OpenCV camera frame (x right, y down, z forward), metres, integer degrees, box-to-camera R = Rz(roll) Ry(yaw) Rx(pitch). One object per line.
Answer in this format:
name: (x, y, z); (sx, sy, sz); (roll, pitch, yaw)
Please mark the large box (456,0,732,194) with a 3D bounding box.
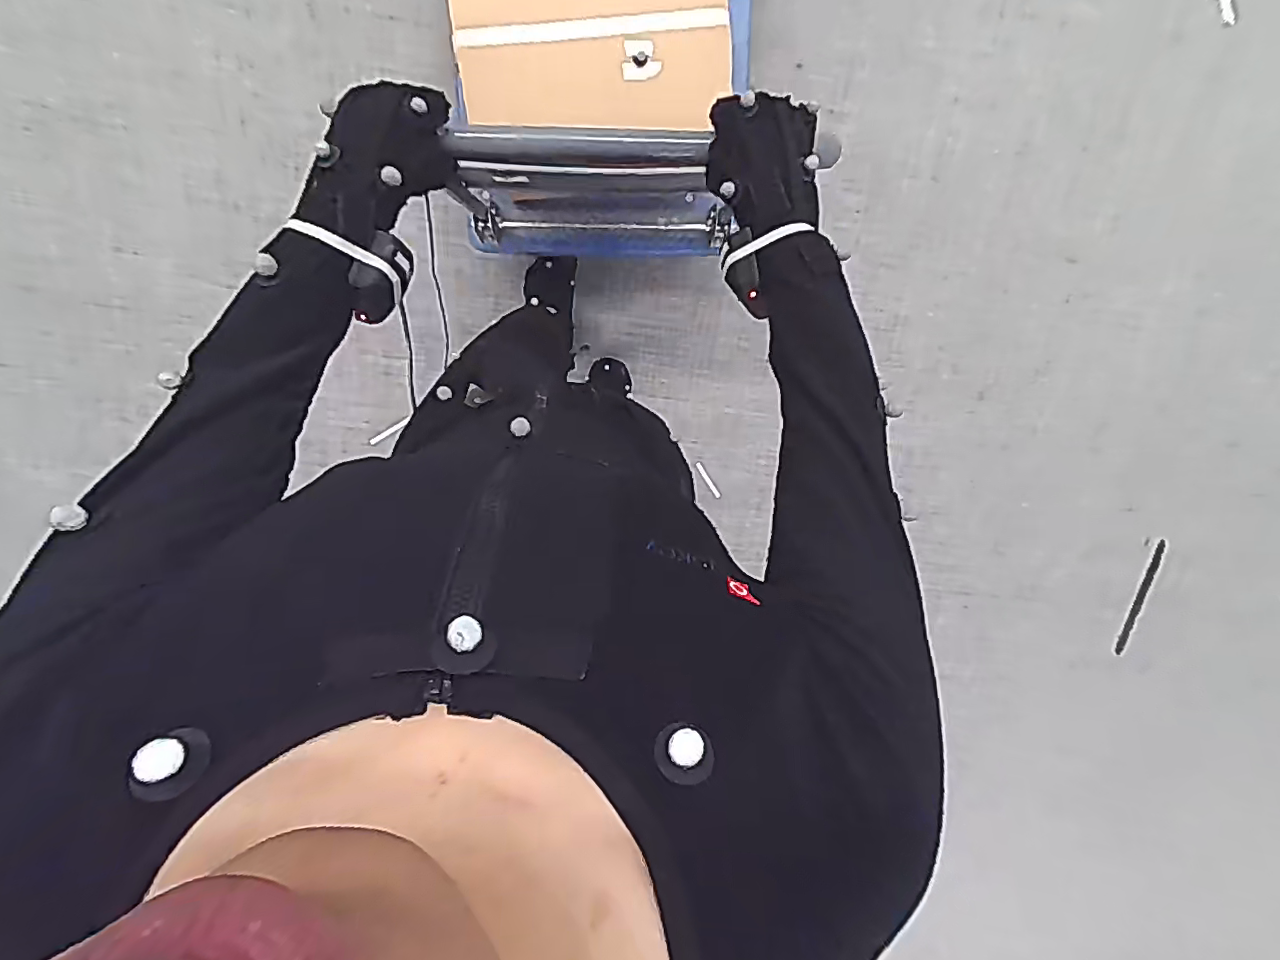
large box: (-0.077, -0.719, 0.945); (0.408, 0.320, 0.320); (-6, 107, -2)
